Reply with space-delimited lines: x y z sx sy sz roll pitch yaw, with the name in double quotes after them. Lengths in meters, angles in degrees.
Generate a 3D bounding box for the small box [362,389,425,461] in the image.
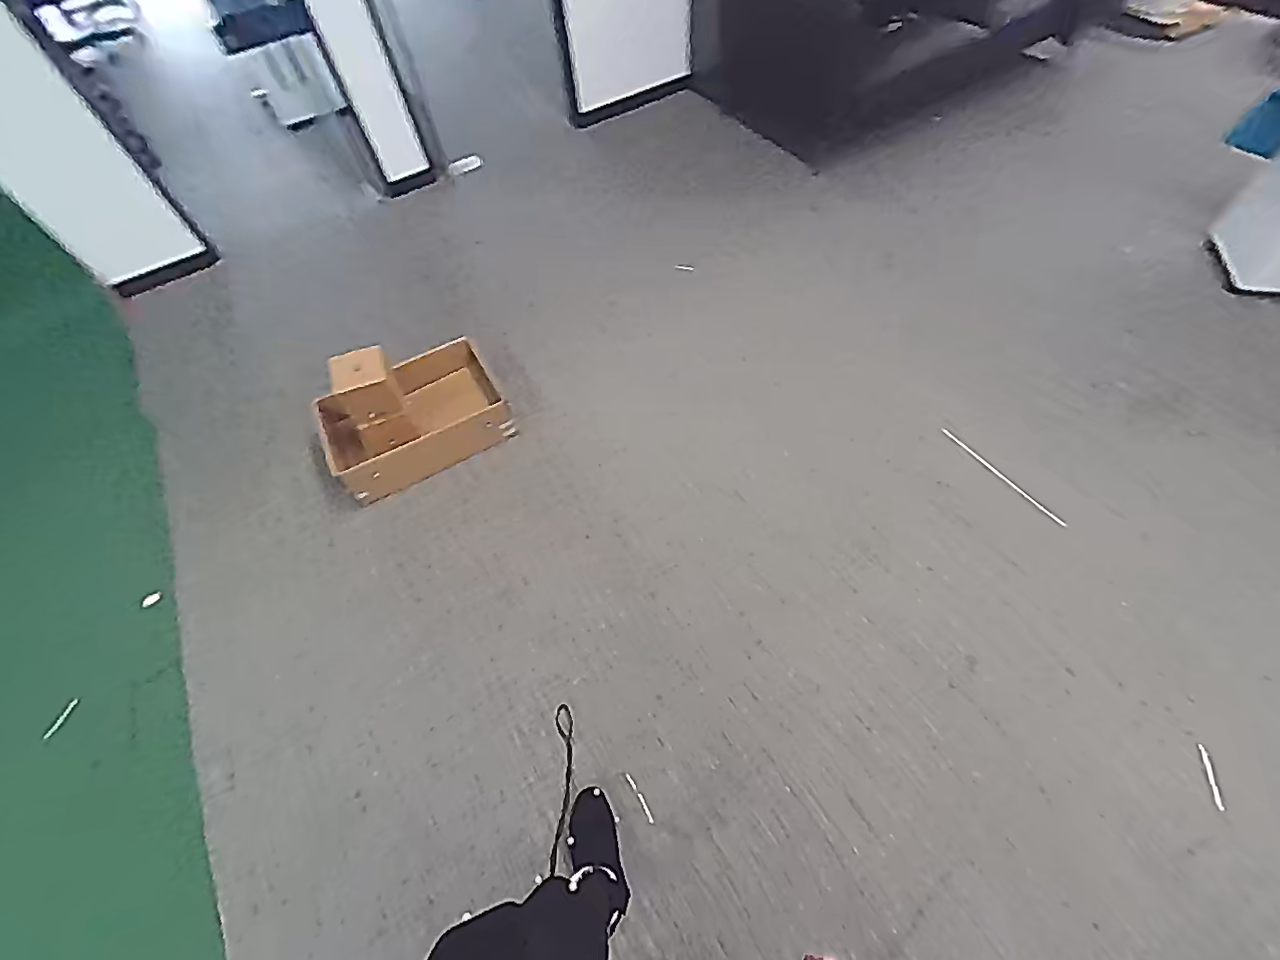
-0.905 -0.200 1.967 0.168 0.176 0.179 -23 59 -14 "small box"

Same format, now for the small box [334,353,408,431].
-0.911 -0.296 1.835 0.168 0.176 0.179 -20 58 -11 "small box"
